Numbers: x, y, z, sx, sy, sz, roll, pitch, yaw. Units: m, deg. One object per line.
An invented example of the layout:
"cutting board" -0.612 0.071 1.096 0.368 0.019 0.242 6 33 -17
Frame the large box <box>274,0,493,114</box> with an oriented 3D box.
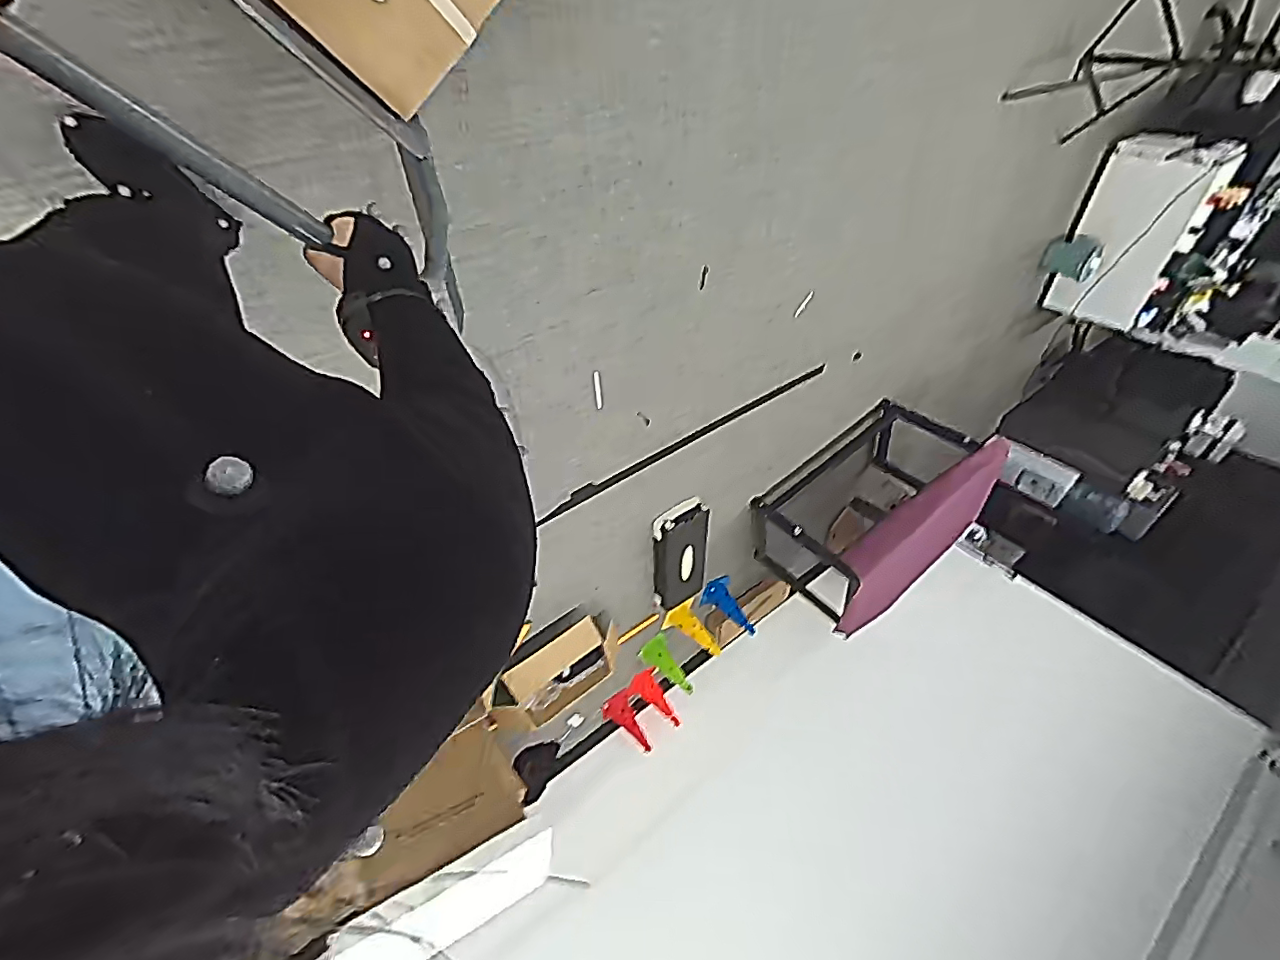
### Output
"large box" -0.427 -0.824 0.725 0.320 0.320 0.408 -39 145 17
